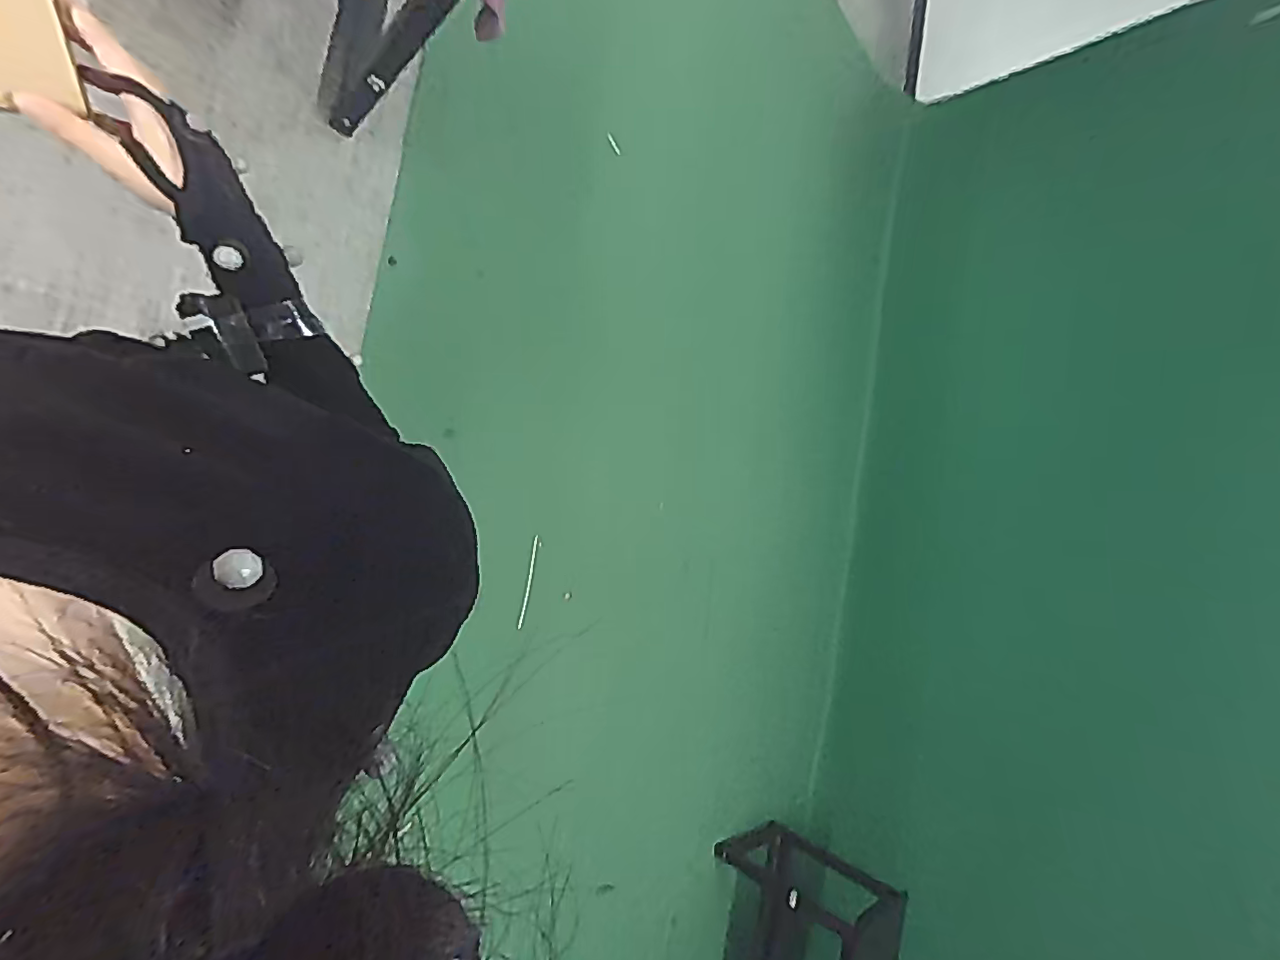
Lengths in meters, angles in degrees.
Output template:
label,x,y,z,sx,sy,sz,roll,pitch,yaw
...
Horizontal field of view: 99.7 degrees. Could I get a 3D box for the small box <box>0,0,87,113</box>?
label,x,y,z,sx,sy,sz,roll,pitch,yaw
small box,-0.467,-0.321,0.310,0.179,0.176,0.168,-18,126,-36
